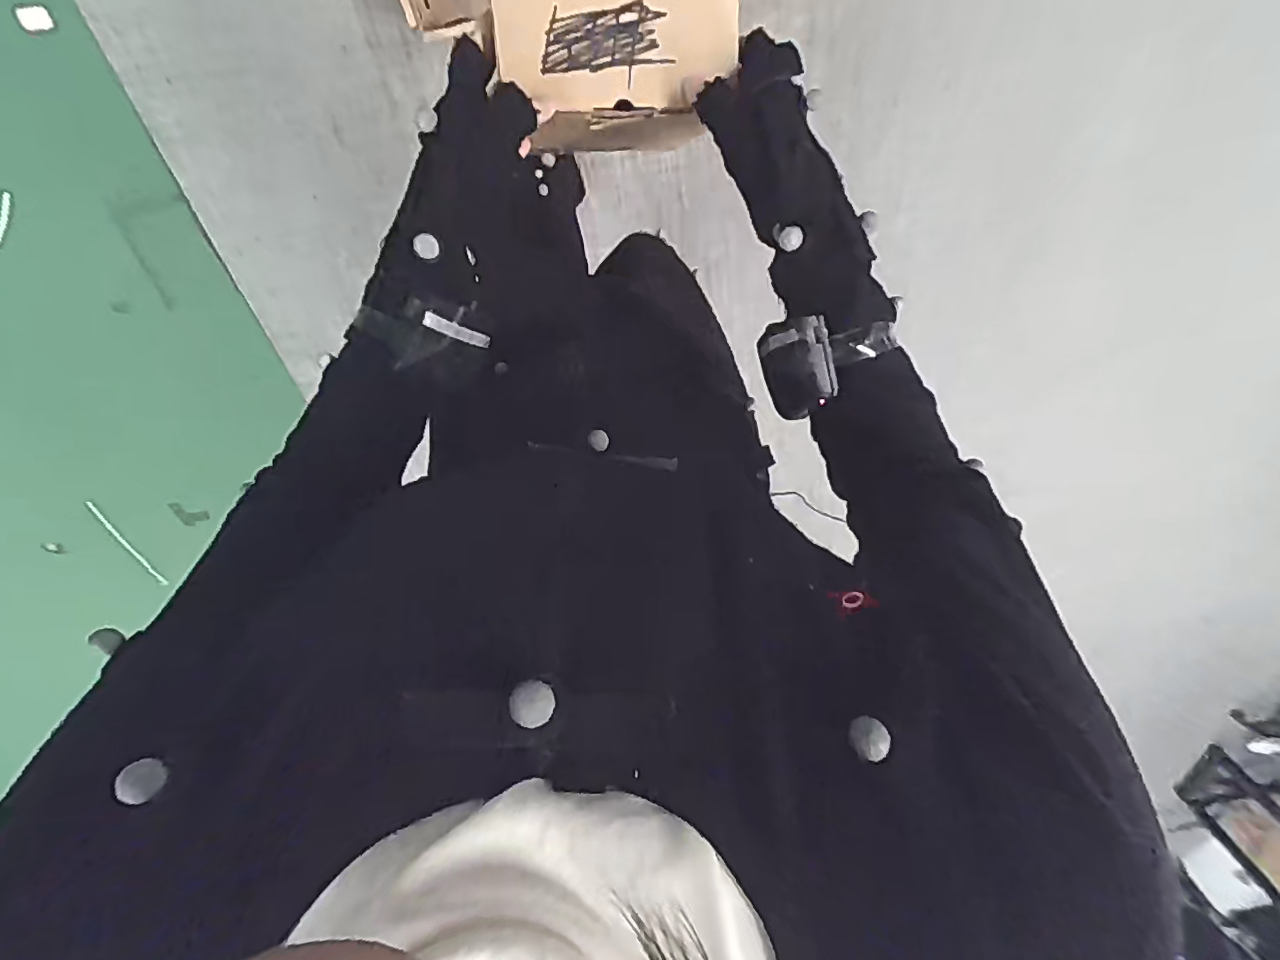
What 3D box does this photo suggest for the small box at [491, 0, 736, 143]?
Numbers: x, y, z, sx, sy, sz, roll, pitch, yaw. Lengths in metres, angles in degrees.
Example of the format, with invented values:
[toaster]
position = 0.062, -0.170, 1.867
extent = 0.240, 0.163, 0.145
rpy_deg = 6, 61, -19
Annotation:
[small box]
position = -0.028, -0.373, 0.419
extent = 0.168, 0.176, 0.179
rpy_deg = -6, 113, -8
